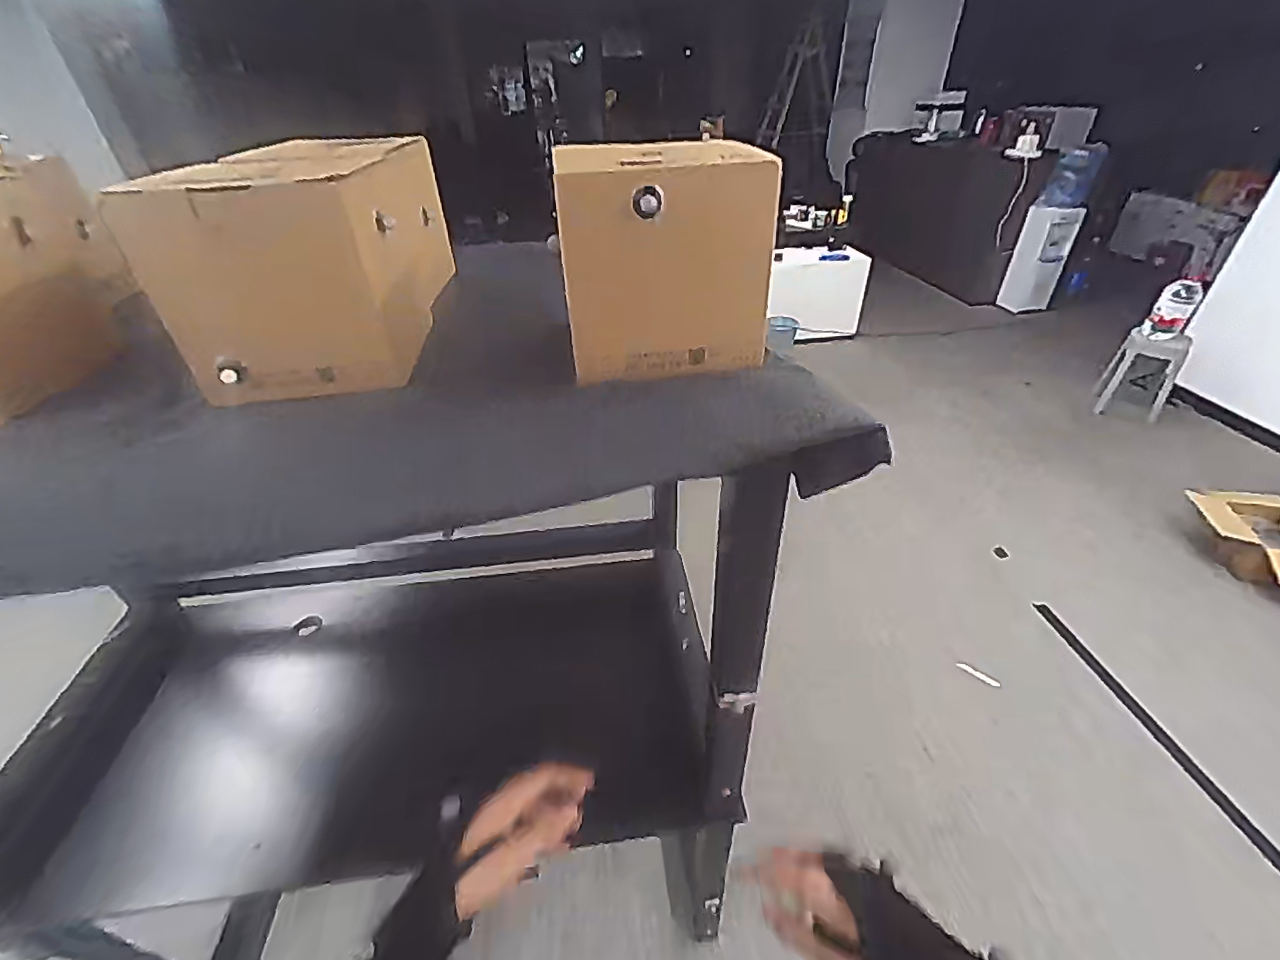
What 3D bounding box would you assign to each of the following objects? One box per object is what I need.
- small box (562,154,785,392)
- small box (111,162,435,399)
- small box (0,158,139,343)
[{"bbox_3d":[0.018,-0.196,0.501,0.168,0.176,0.179,-7,36,-5],"label":"small box"},{"bbox_3d":[-0.302,-0.183,0.500,0.168,0.176,0.179,-7,36,-6],"label":"small box"},{"bbox_3d":[-0.755,-0.265,0.629,0.179,0.176,0.168,-7,37,-7],"label":"small box"}]
